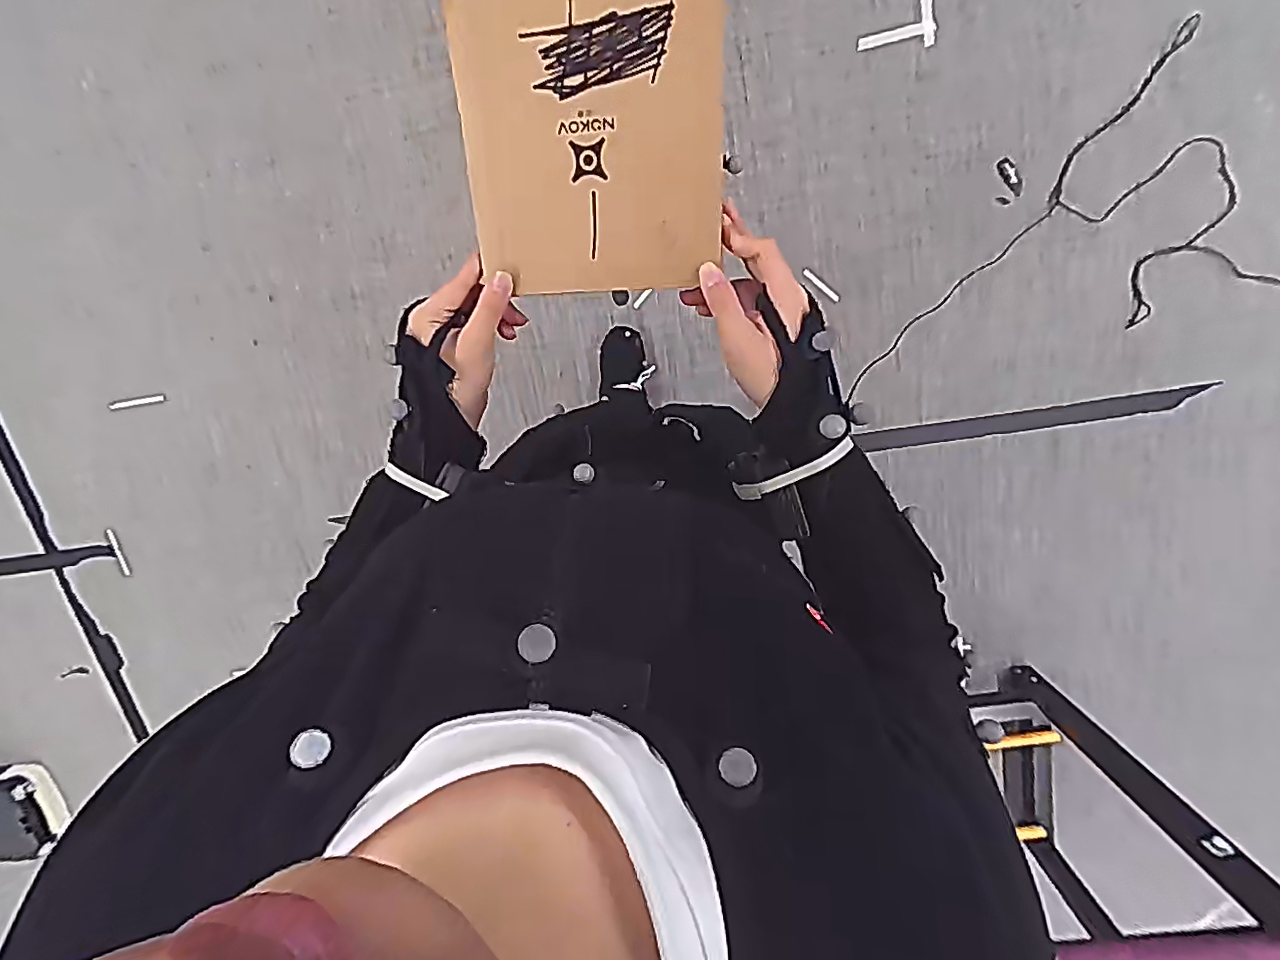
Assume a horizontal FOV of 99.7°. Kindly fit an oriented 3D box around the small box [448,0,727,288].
[{"bbox_3d":[-0.021,-0.242,0.409,0.168,0.176,0.179,1,113,8],"label":"small box"}]
